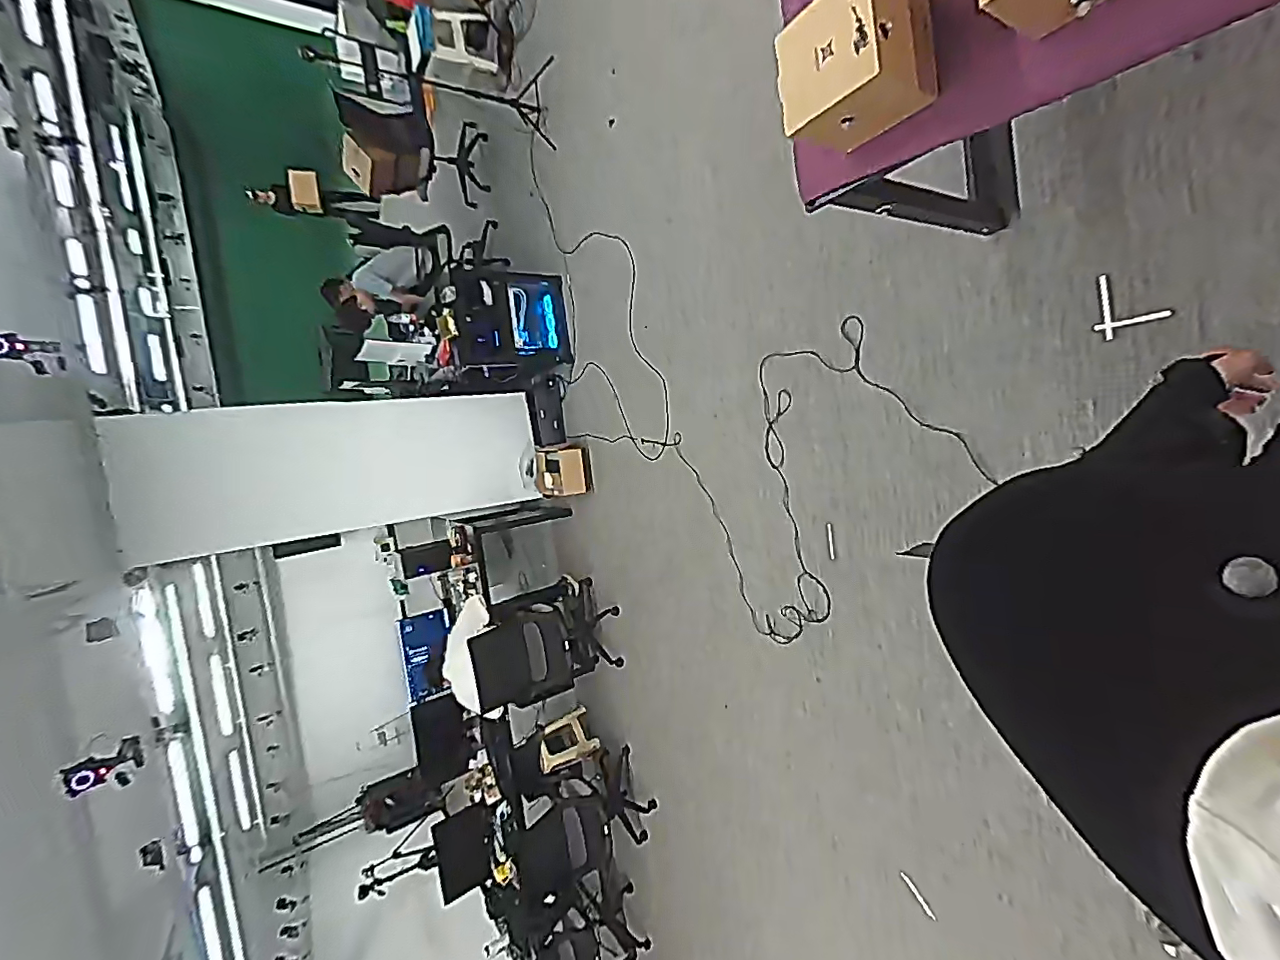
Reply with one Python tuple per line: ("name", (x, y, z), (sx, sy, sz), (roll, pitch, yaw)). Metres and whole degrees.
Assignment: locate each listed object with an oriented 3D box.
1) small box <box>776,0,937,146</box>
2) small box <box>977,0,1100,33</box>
("small box", (0.350, -0.679, 0.883), (0.179, 0.176, 0.168), (-1, 99, 57))
("small box", (0.514, -0.686, 0.636), (0.168, 0.176, 0.179), (-3, 98, 58))
